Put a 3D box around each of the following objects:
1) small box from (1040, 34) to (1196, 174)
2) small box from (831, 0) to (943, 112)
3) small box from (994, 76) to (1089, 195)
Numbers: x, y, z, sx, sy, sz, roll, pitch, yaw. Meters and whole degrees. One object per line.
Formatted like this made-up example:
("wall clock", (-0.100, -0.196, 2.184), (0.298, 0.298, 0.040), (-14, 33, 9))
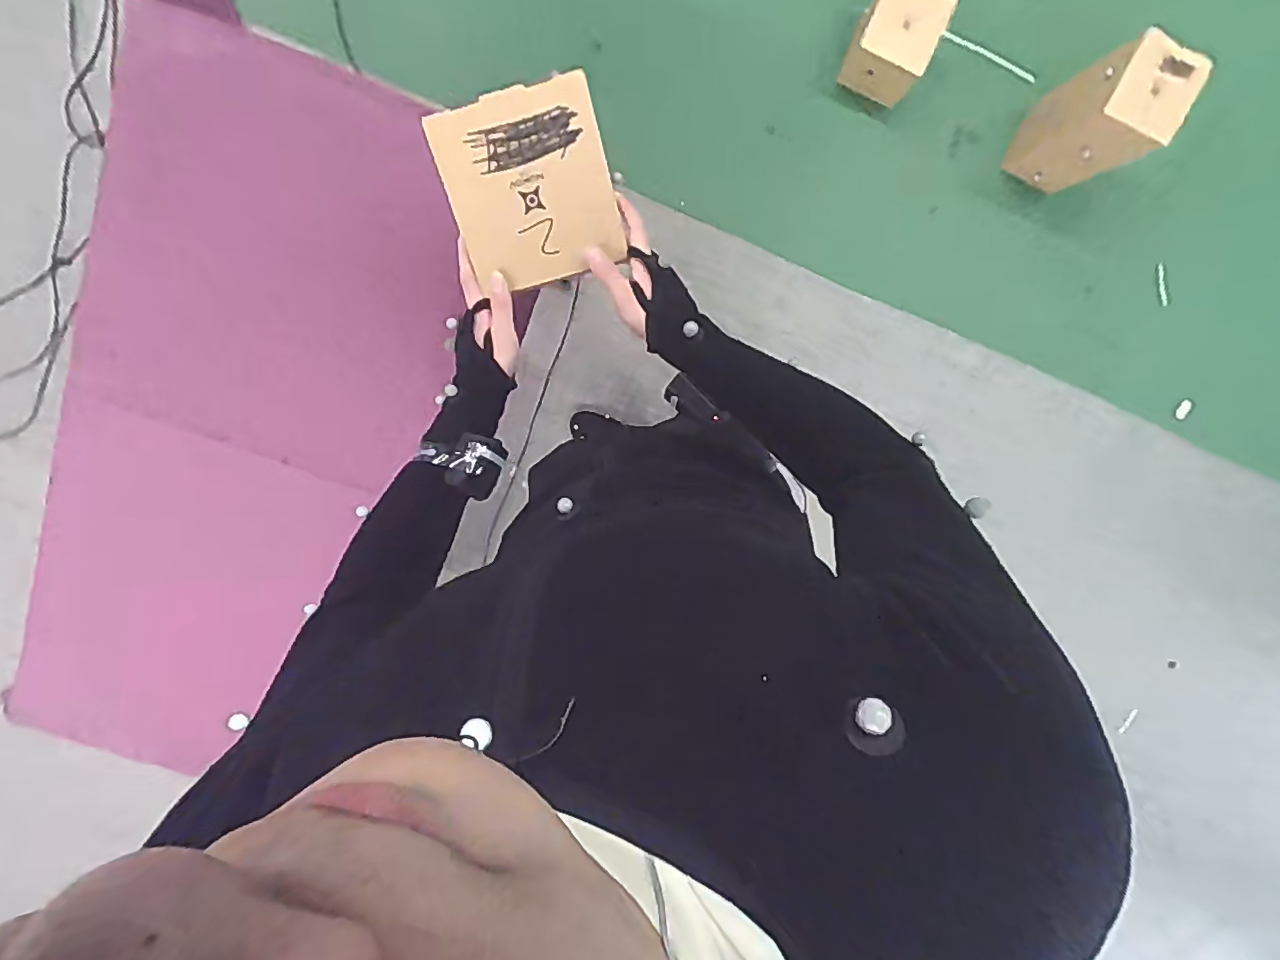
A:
("small box", (1.067, -0.839, 1.225), (0.168, 0.176, 0.179), (22, 100, -5))
("small box", (0.599, -1.063, 1.342), (0.168, 0.176, 0.179), (22, 99, -5))
("small box", (1.061, -0.871, 1.386), (0.168, 0.176, 0.179), (23, 100, -6))
